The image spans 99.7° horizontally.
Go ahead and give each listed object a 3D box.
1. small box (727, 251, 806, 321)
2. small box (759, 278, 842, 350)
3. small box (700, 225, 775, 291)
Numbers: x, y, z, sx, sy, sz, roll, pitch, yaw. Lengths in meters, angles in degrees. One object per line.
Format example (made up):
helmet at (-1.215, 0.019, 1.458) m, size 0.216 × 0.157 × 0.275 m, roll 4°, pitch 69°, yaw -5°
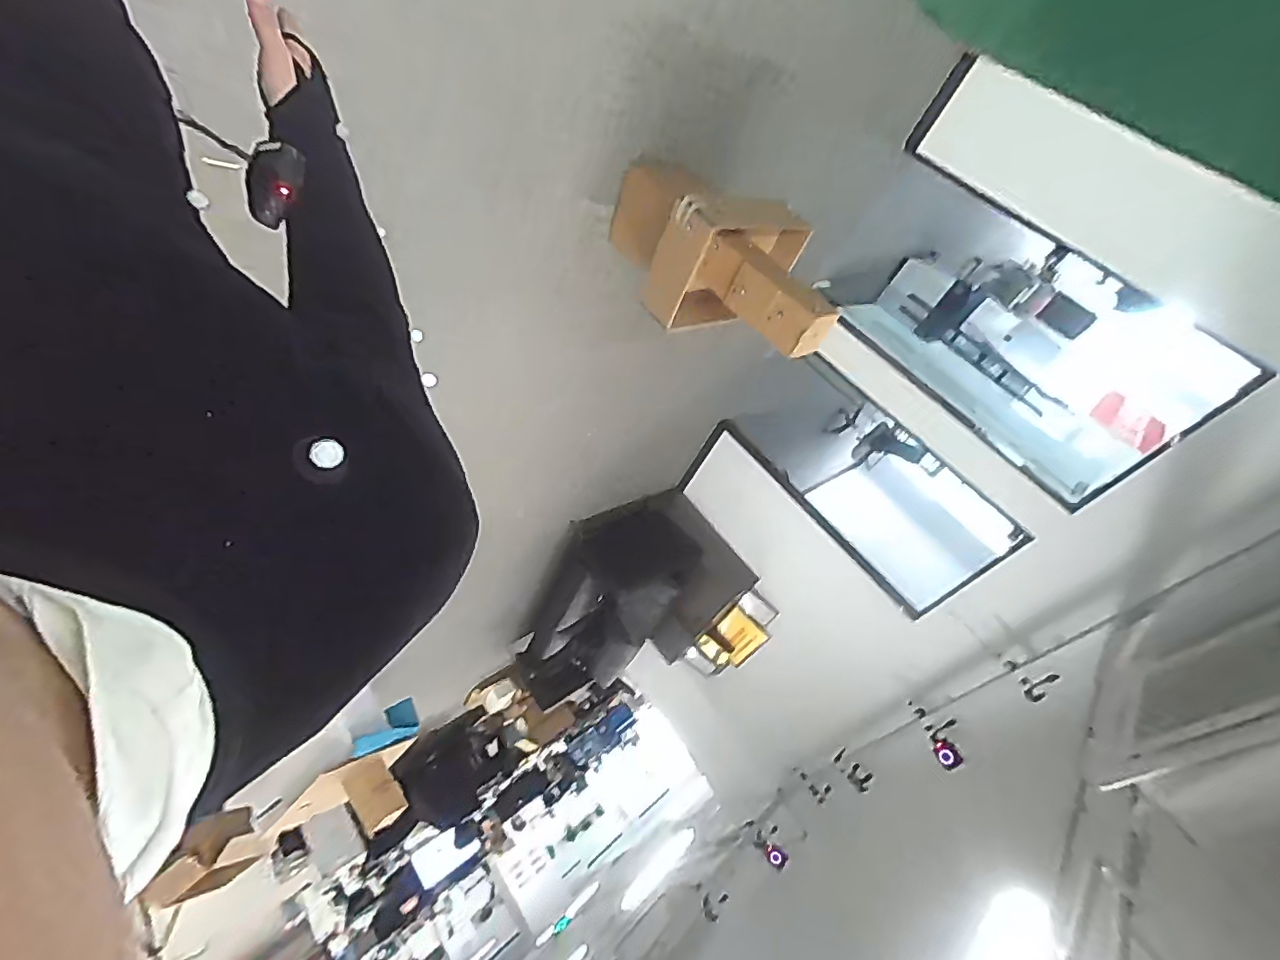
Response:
small box at (0.442, -0.687, 1.904) m, size 0.179 × 0.176 × 0.168 m, roll -23°, pitch 152°, yaw -40°
small box at (0.546, -0.574, 1.850) m, size 0.179 × 0.176 × 0.168 m, roll -23°, pitch 153°, yaw -40°
small box at (0.349, -0.807, 1.968) m, size 0.179 × 0.176 × 0.168 m, roll -23°, pitch 154°, yaw -42°
